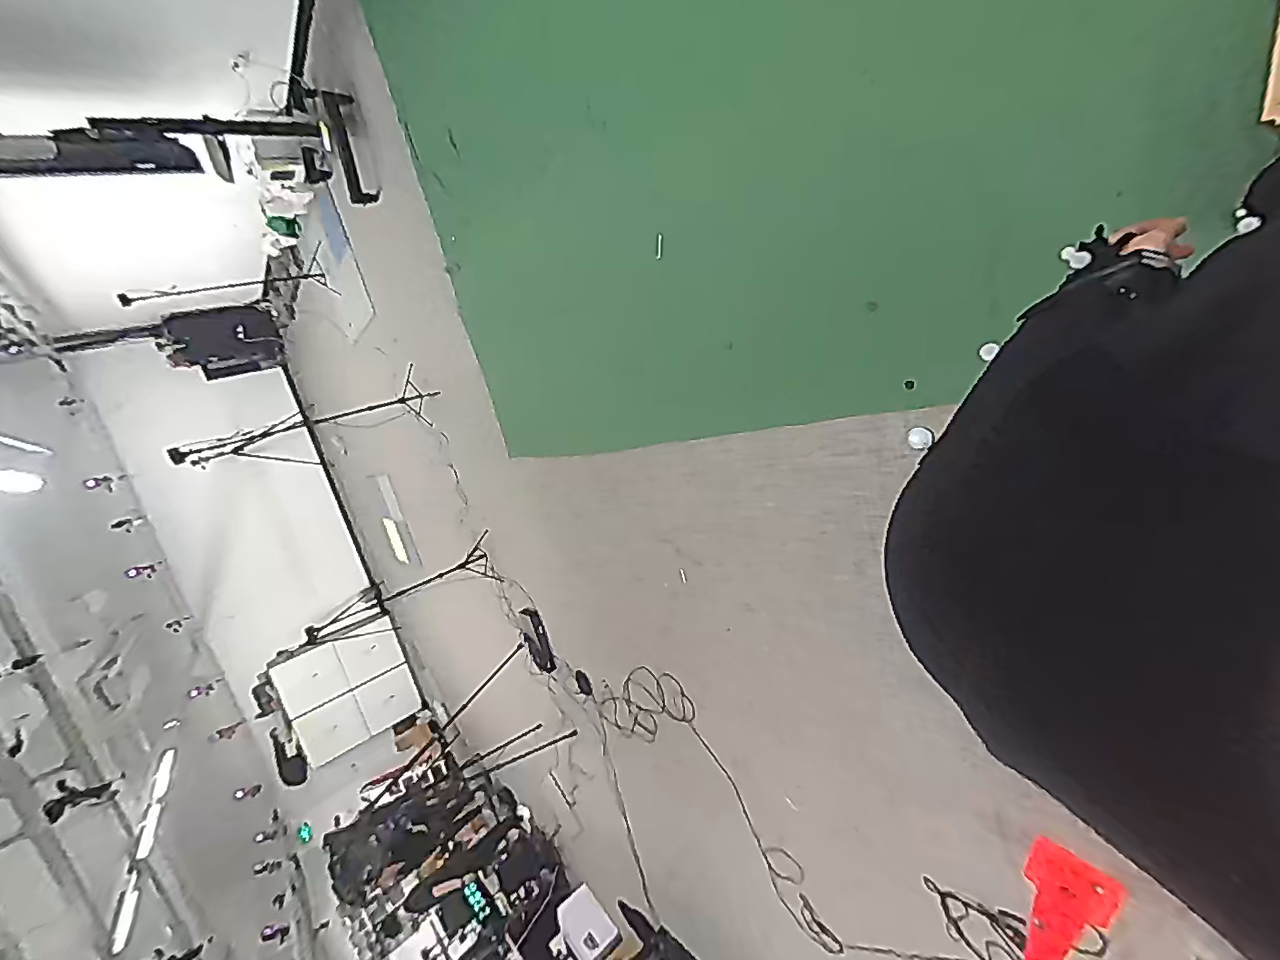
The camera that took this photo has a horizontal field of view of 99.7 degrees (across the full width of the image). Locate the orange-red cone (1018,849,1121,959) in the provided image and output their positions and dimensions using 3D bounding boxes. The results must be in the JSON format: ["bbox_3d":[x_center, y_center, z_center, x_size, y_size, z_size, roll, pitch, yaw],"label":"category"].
[{"bbox_3d":[1.027,1.178,1.373,0.199,0.360,0.198,27,127,45],"label":"orange-red cone"}]
